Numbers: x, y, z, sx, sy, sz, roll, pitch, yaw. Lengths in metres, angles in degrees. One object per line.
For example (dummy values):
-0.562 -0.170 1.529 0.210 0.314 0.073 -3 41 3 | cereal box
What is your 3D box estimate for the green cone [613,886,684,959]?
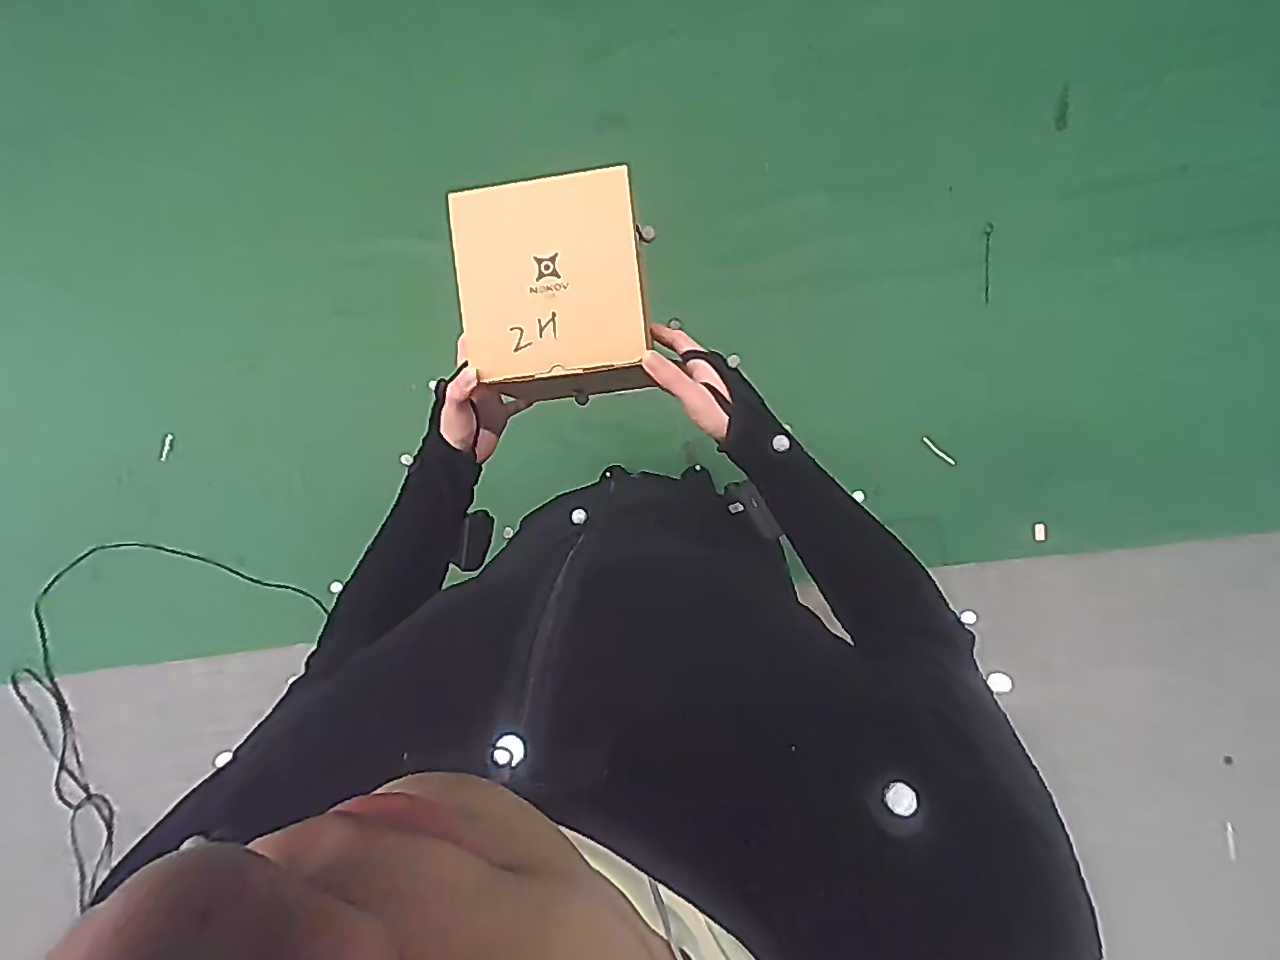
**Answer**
0.012 1.329 1.461 0.202 0.368 0.200 -7 90 4 | green cone
